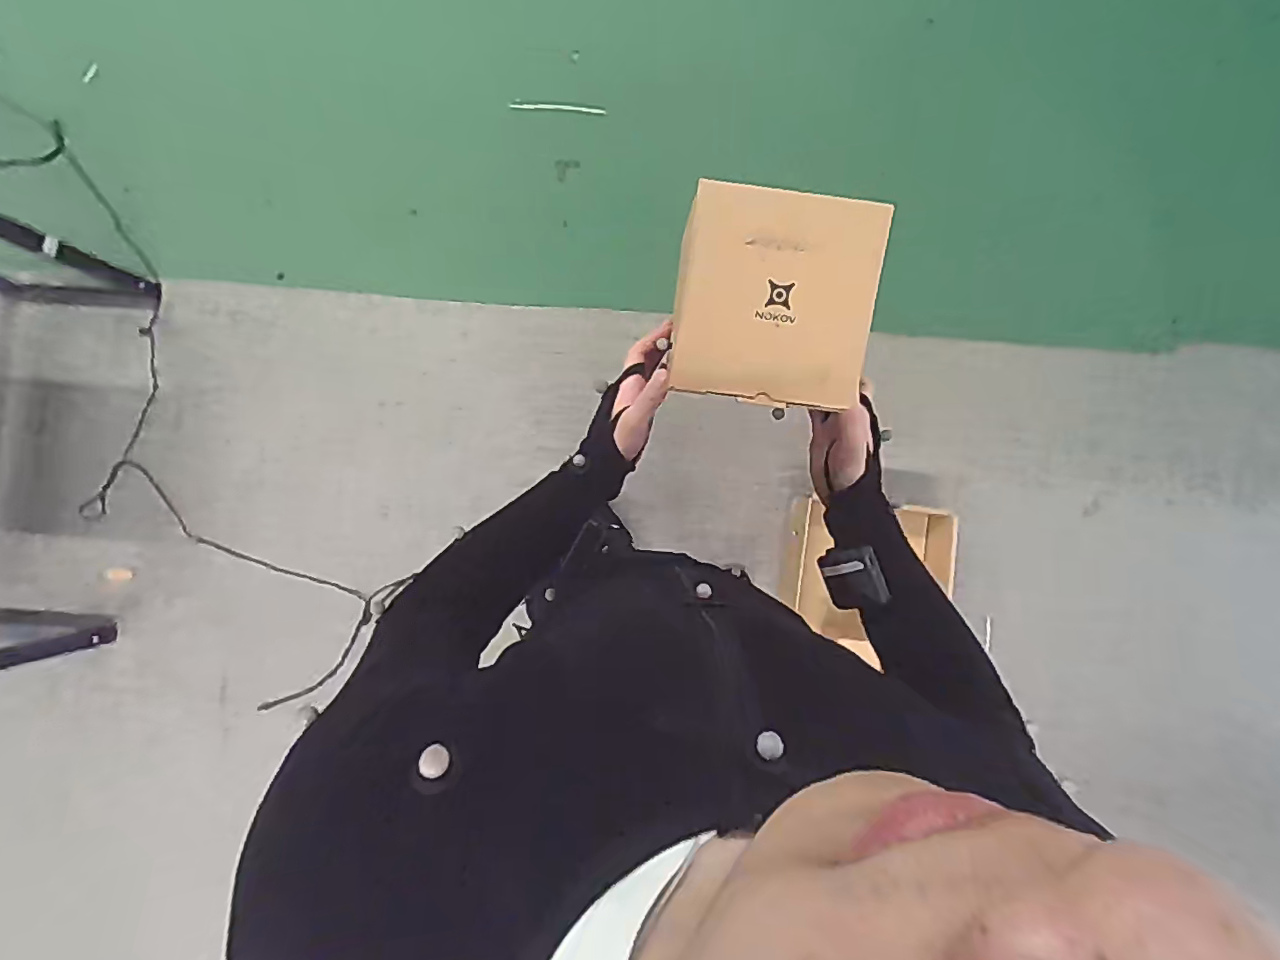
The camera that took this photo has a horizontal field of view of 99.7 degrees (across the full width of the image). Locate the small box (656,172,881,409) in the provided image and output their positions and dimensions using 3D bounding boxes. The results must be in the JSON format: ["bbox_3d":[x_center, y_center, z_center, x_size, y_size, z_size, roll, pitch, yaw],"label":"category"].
[{"bbox_3d":[0.108,-0.170,0.536,0.168,0.176,0.179,7,99,-1],"label":"small box"}]
